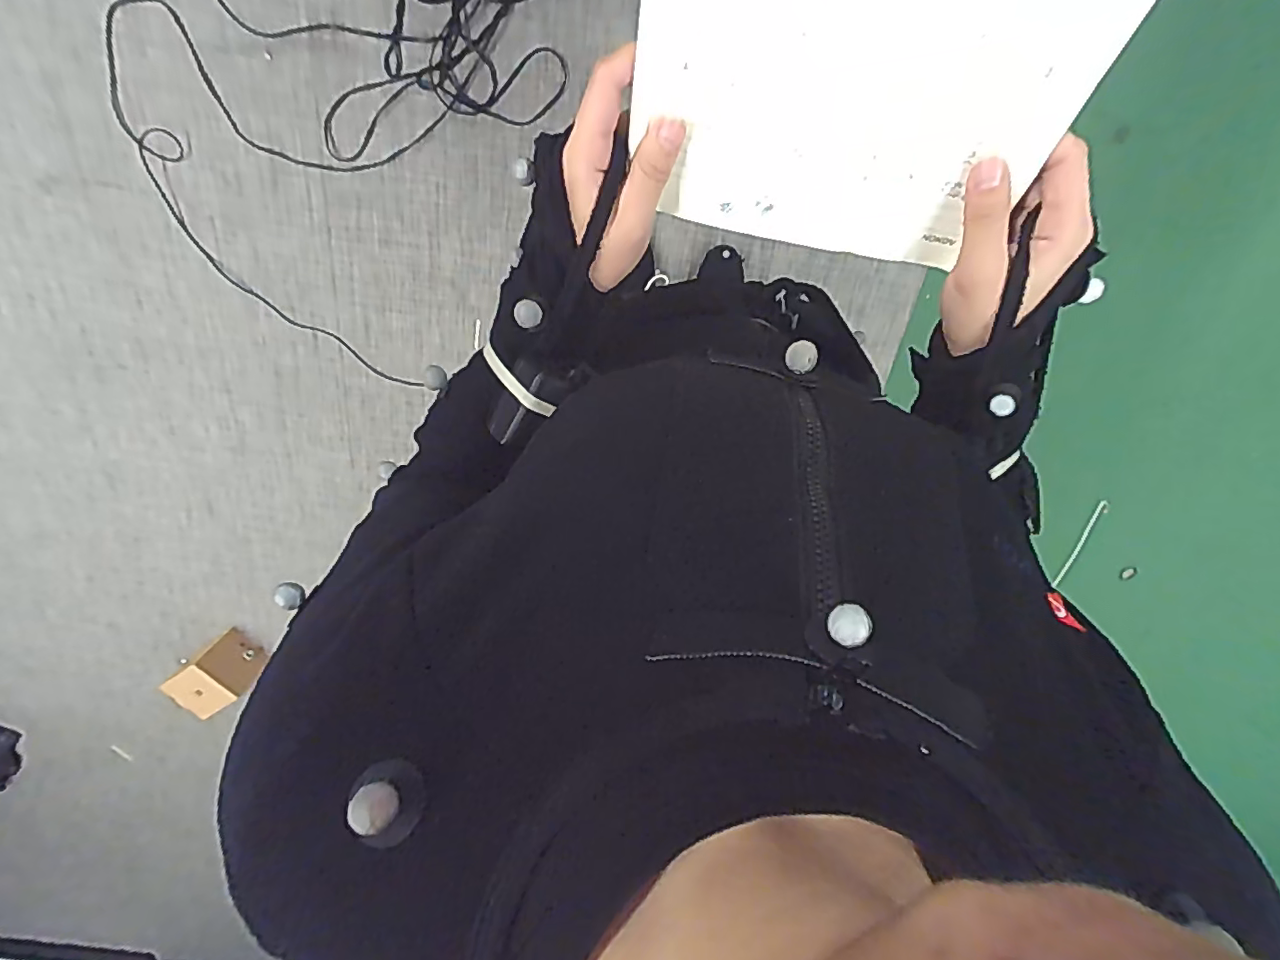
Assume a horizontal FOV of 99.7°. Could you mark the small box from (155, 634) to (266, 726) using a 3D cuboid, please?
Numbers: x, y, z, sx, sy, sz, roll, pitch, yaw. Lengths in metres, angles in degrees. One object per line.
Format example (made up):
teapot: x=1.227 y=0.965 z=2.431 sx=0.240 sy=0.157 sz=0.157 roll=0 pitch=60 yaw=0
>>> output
small box: x=-1.321 y=0.616 z=1.677 sx=0.179 sy=0.176 sz=0.168 roll=-32 pitch=111 yaw=15
